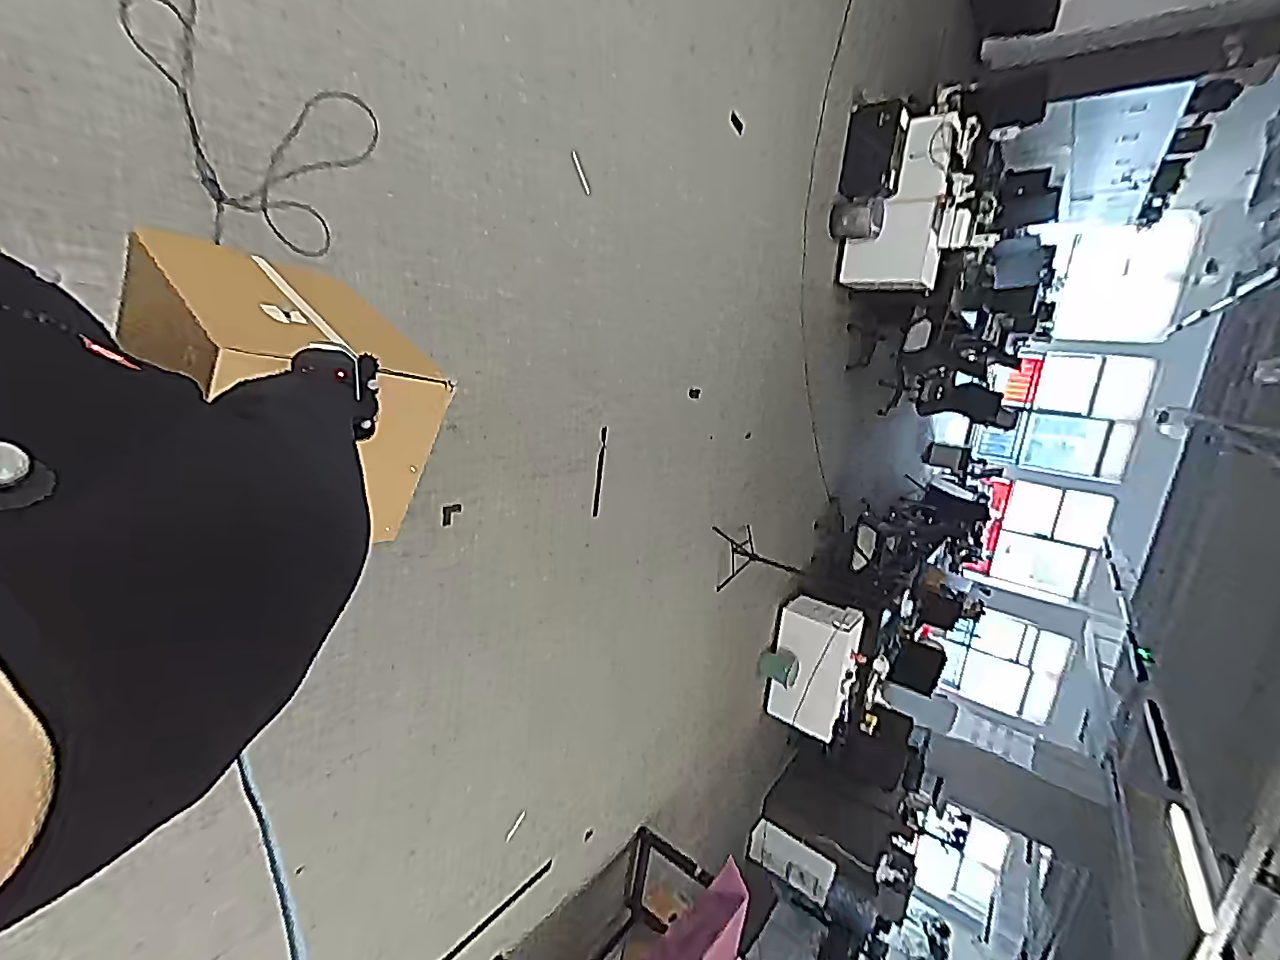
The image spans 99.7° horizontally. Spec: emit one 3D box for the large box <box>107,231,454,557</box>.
[{"bbox_3d":[-0.589,-0.132,0.878,0.320,0.408,0.320,-2,127,-56],"label":"large box"}]
